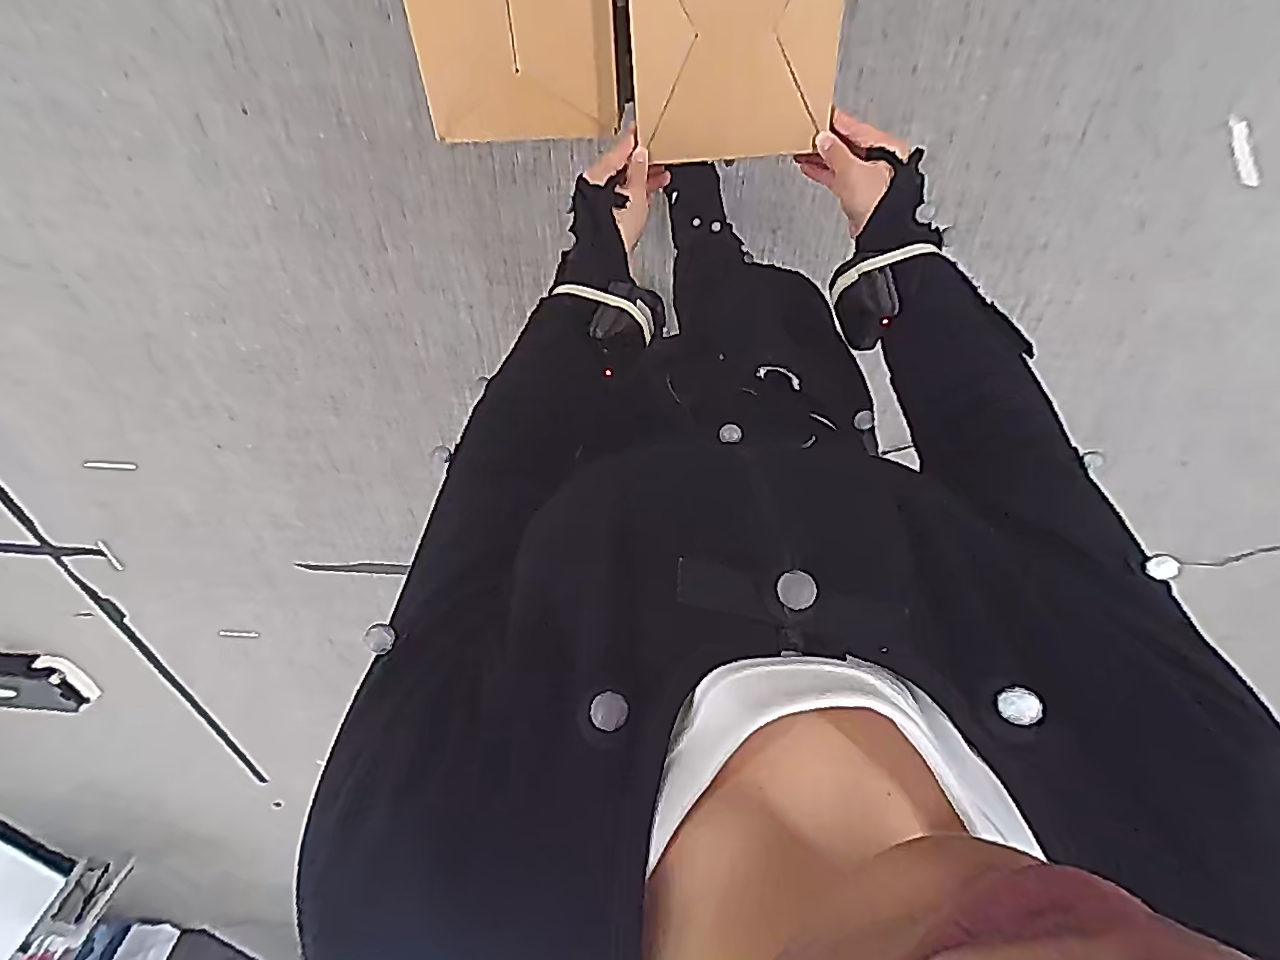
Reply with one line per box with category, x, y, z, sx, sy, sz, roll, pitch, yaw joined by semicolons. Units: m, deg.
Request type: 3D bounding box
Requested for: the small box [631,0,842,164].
small box;0.079;-0.403;0.496;0.168;0.176;0.179;-3;127;3
